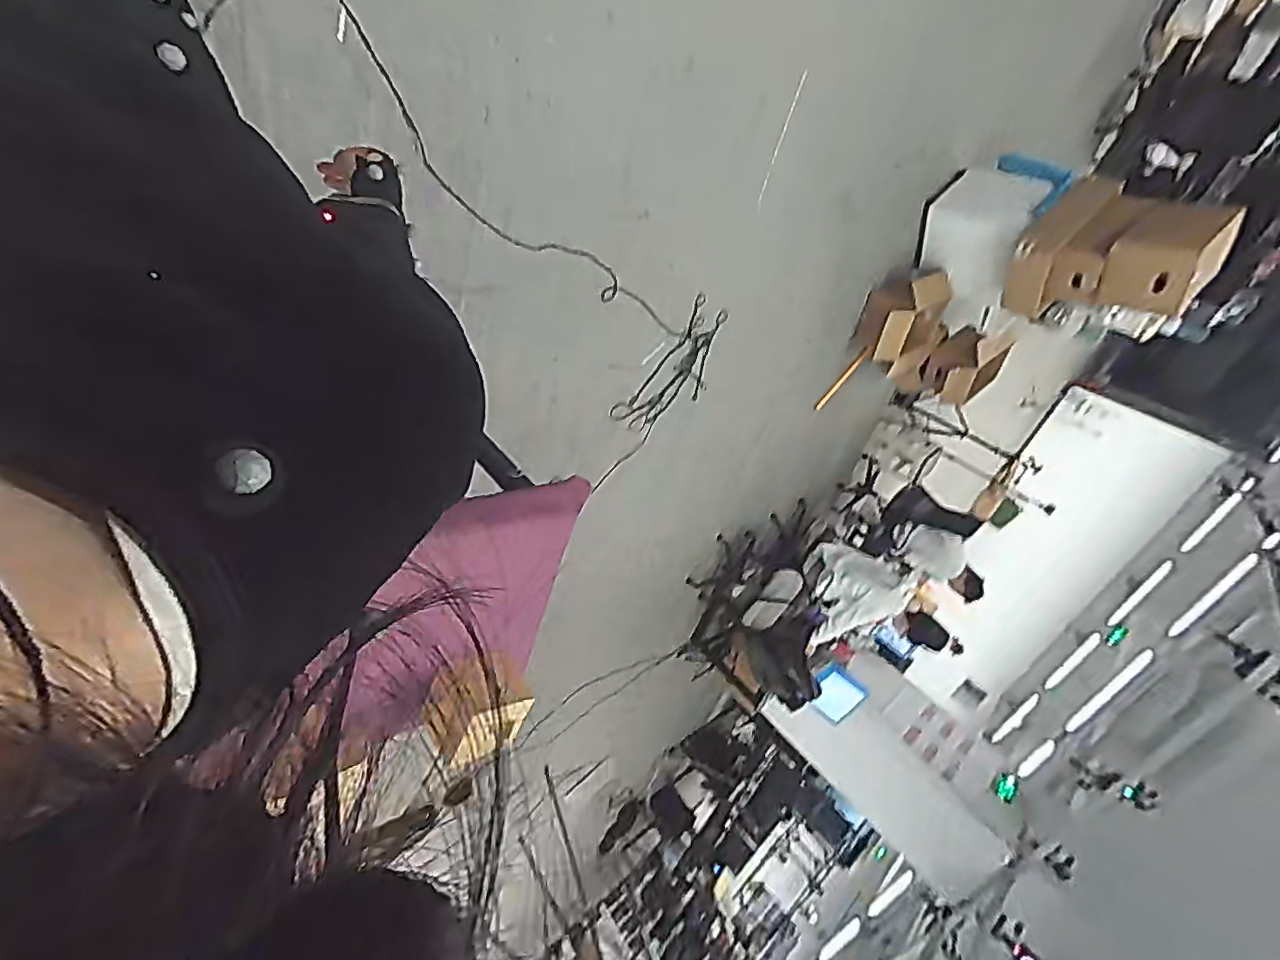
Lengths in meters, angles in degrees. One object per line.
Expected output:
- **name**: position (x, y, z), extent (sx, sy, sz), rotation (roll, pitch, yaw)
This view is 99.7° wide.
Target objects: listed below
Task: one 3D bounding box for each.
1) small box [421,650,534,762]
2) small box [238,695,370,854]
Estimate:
- **small box**: position (-0.398, 0.537, 1.316), extent (0.179, 0.176, 0.168), rotation (6, 116, -50)
- **small box**: position (-0.648, 0.554, 1.044), extent (0.179, 0.176, 0.168), rotation (-11, 129, -45)
